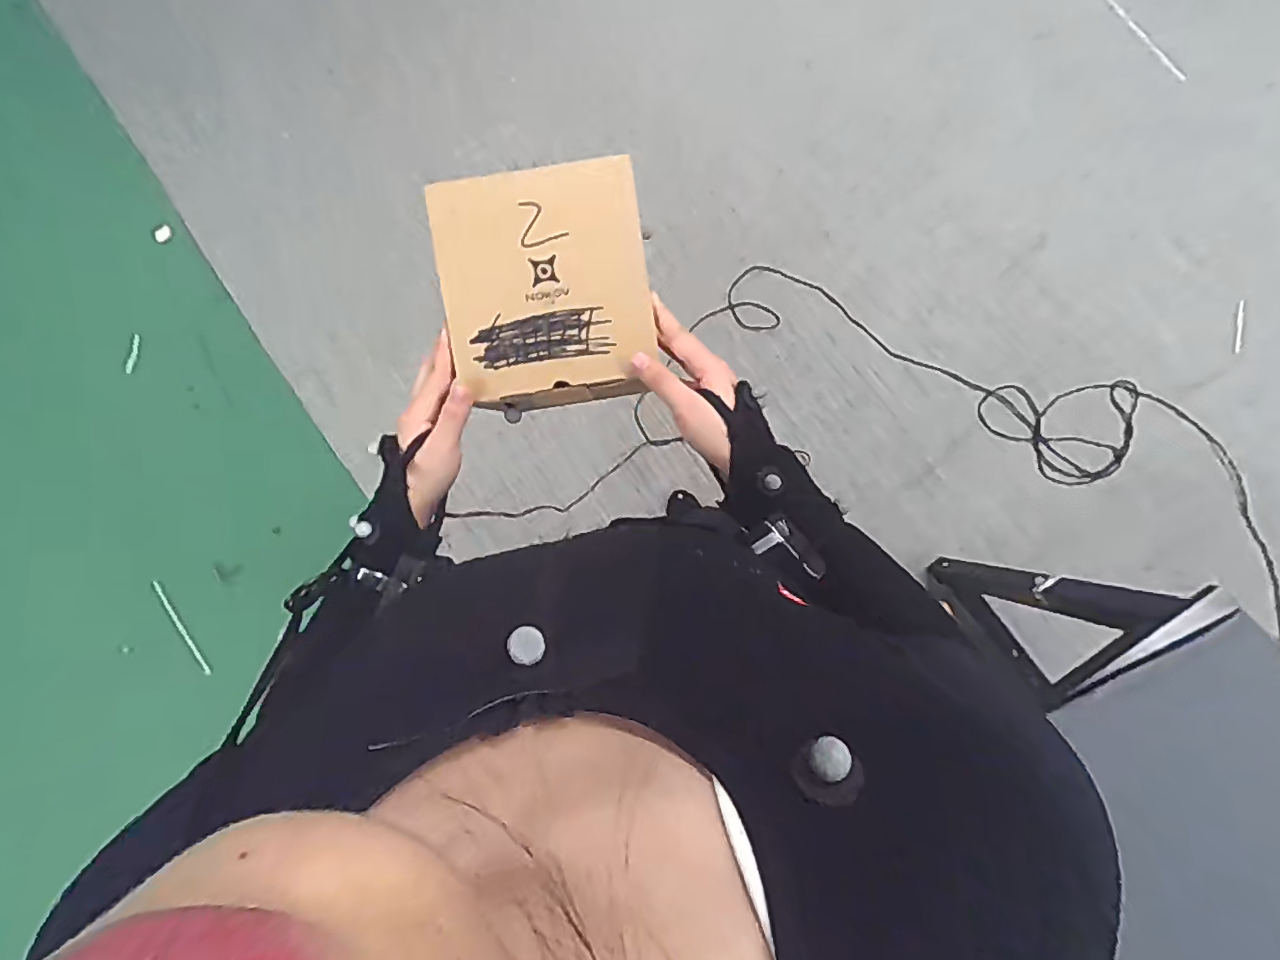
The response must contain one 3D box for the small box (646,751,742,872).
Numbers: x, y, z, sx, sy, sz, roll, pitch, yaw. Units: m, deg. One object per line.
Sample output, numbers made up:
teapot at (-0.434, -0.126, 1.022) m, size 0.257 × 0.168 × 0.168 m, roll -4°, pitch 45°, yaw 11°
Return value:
small box at (0.132, 0.819, 1.365) m, size 0.168 × 0.176 × 0.179 m, roll -41°, pitch 86°, yaw 1°
